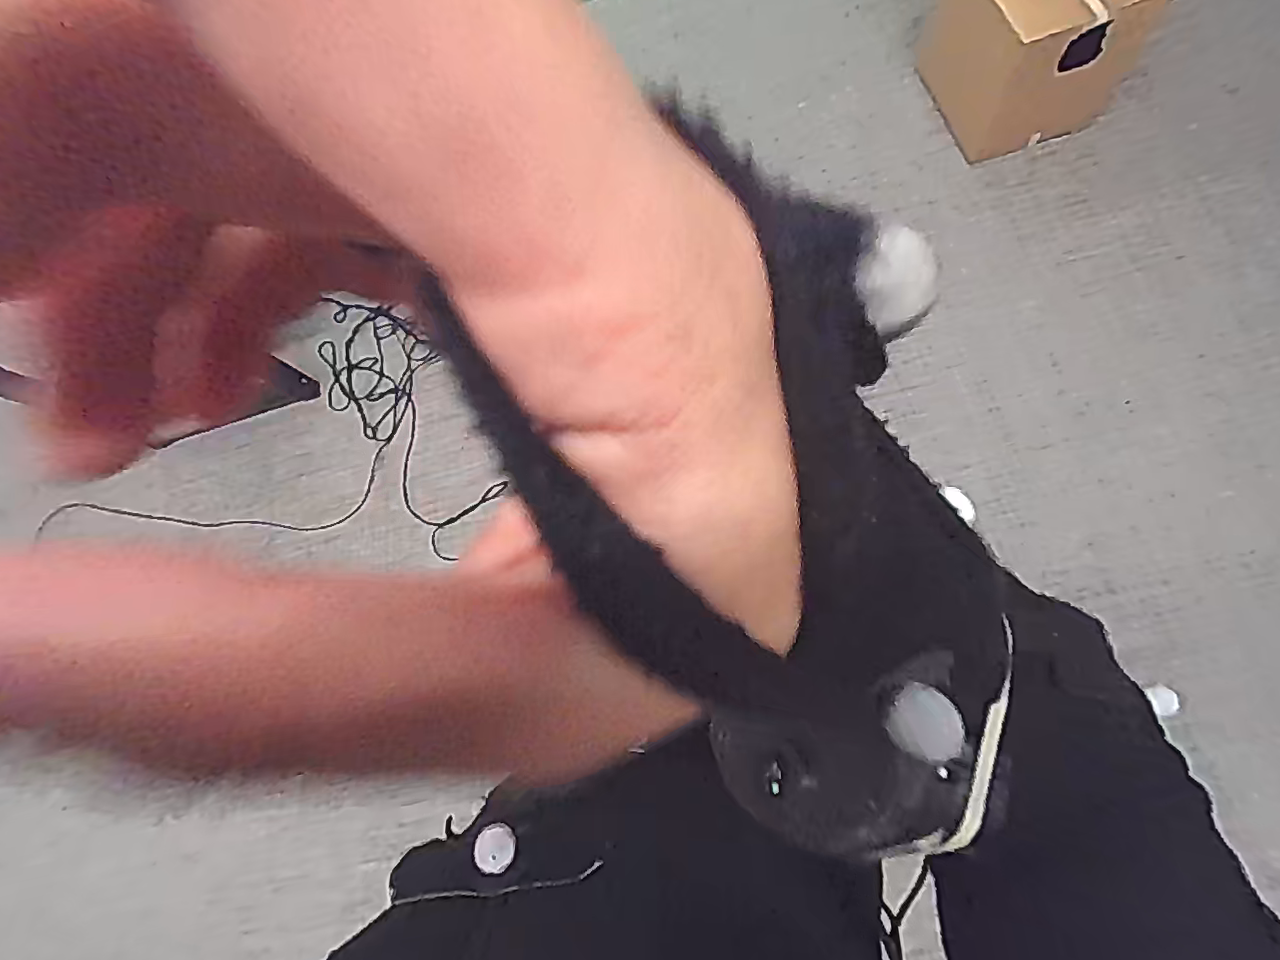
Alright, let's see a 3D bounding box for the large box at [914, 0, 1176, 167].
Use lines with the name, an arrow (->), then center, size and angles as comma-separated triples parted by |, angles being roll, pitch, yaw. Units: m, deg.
large box -> 0.945, -1.086, 1.333 | 0.320, 0.320, 0.408 | -16, 72, 7
